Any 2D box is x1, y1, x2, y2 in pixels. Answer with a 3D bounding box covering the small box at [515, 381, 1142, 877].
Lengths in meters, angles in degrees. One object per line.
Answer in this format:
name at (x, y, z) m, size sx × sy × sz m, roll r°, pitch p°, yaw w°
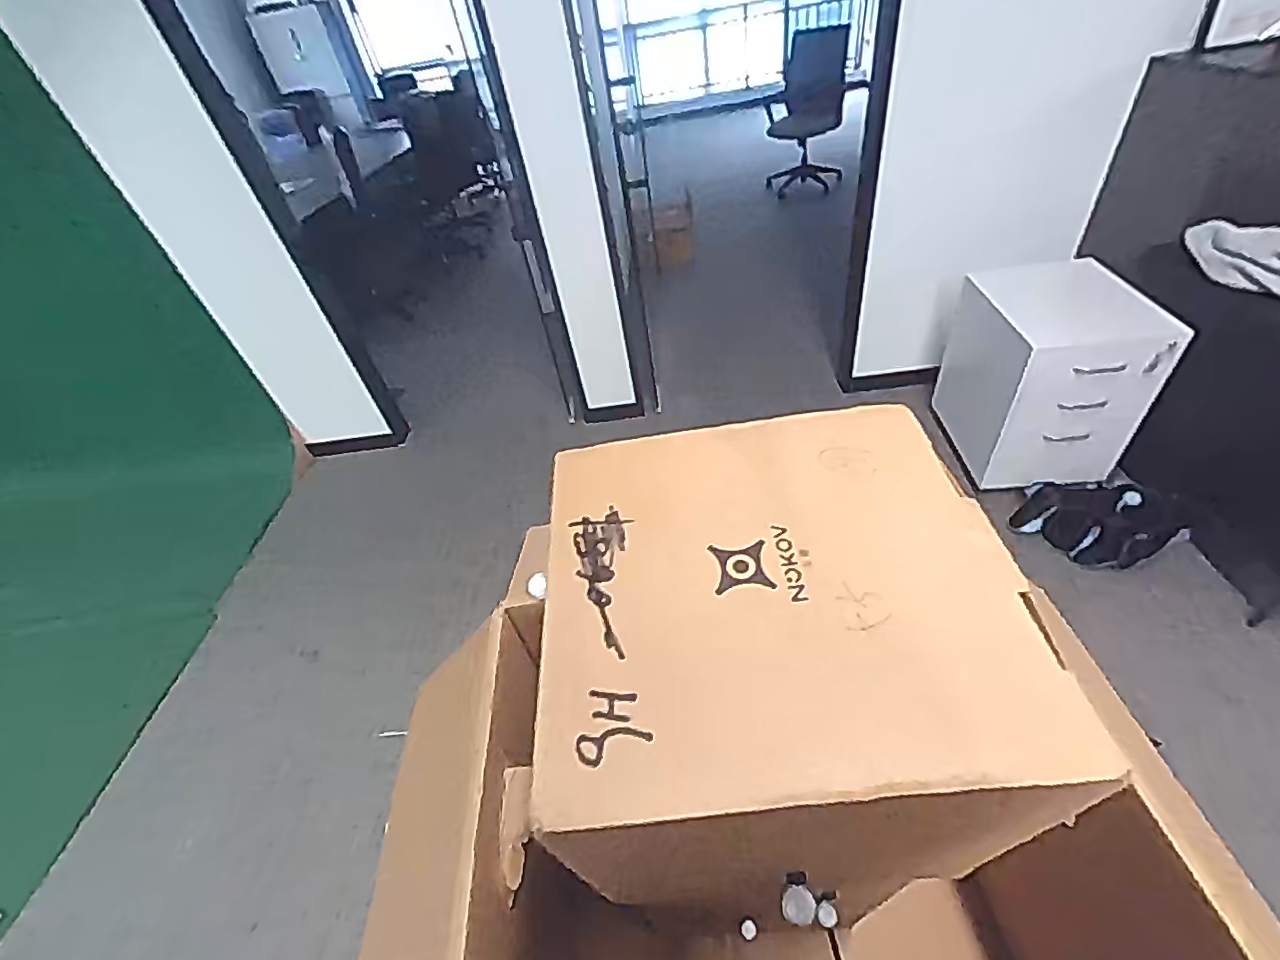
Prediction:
small box at (0.055, 0.076, 0.260) m, size 0.179 × 0.176 × 0.168 m, roll -6°, pitch 47°, yaw 3°
